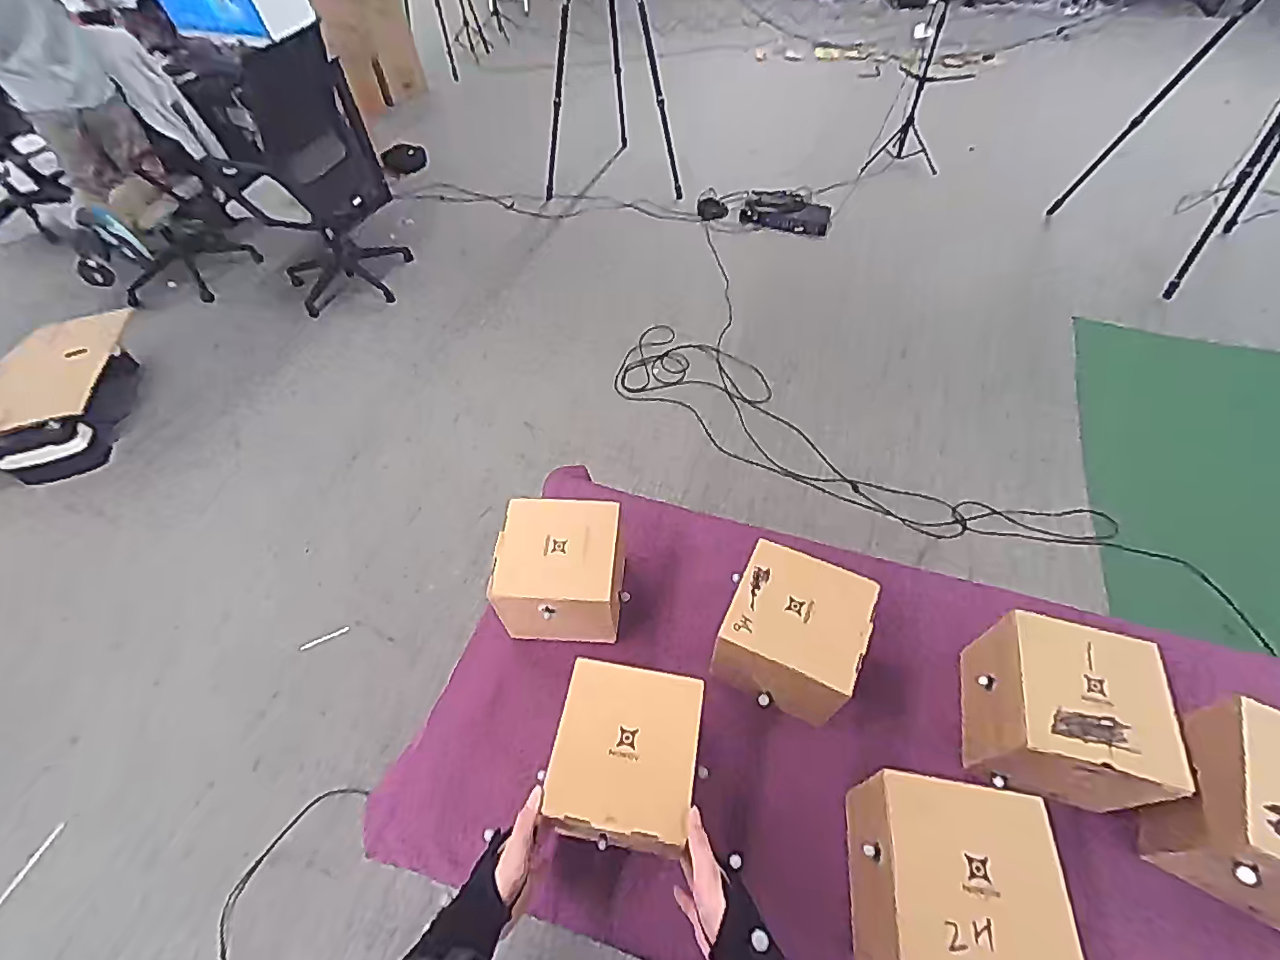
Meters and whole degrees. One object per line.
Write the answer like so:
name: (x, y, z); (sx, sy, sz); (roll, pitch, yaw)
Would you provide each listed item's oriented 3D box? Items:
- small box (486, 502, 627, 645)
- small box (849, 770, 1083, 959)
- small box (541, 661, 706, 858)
small box: (-0.119, 0.151, 0.854); (0.179, 0.176, 0.168); (2, 54, 4)
small box: (0.338, 0.449, 0.599); (0.168, 0.176, 0.179); (7, 52, 9)
small box: (-0.014, 0.357, 0.687); (0.168, 0.176, 0.179); (8, 53, 6)
